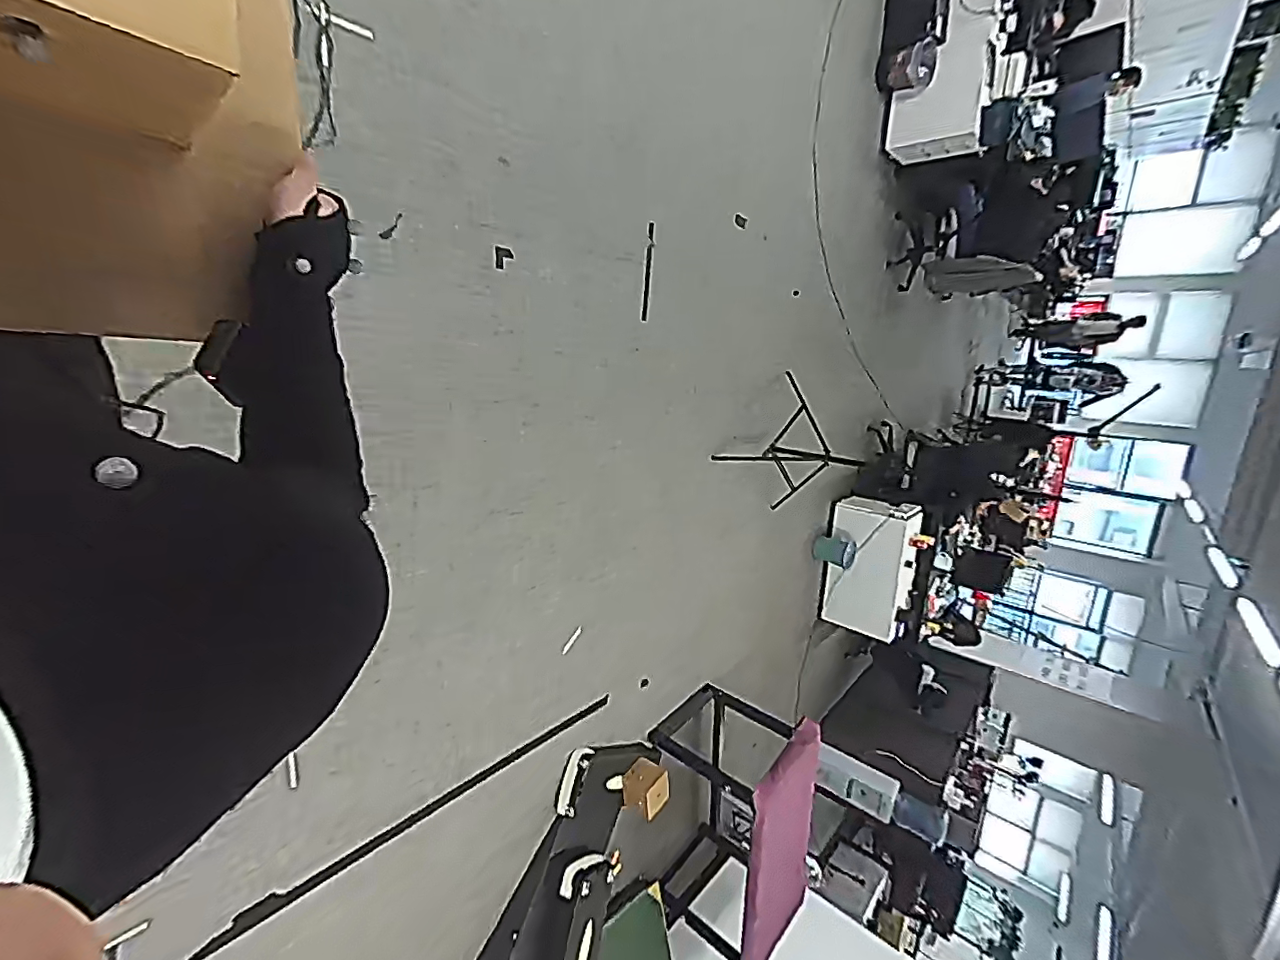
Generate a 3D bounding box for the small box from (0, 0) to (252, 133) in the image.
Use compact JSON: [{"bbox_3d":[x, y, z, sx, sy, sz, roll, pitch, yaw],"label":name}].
[{"bbox_3d":[-0.385,-0.358,0.353,0.179,0.176,0.168,-8,103,-47],"label":"small box"}]
